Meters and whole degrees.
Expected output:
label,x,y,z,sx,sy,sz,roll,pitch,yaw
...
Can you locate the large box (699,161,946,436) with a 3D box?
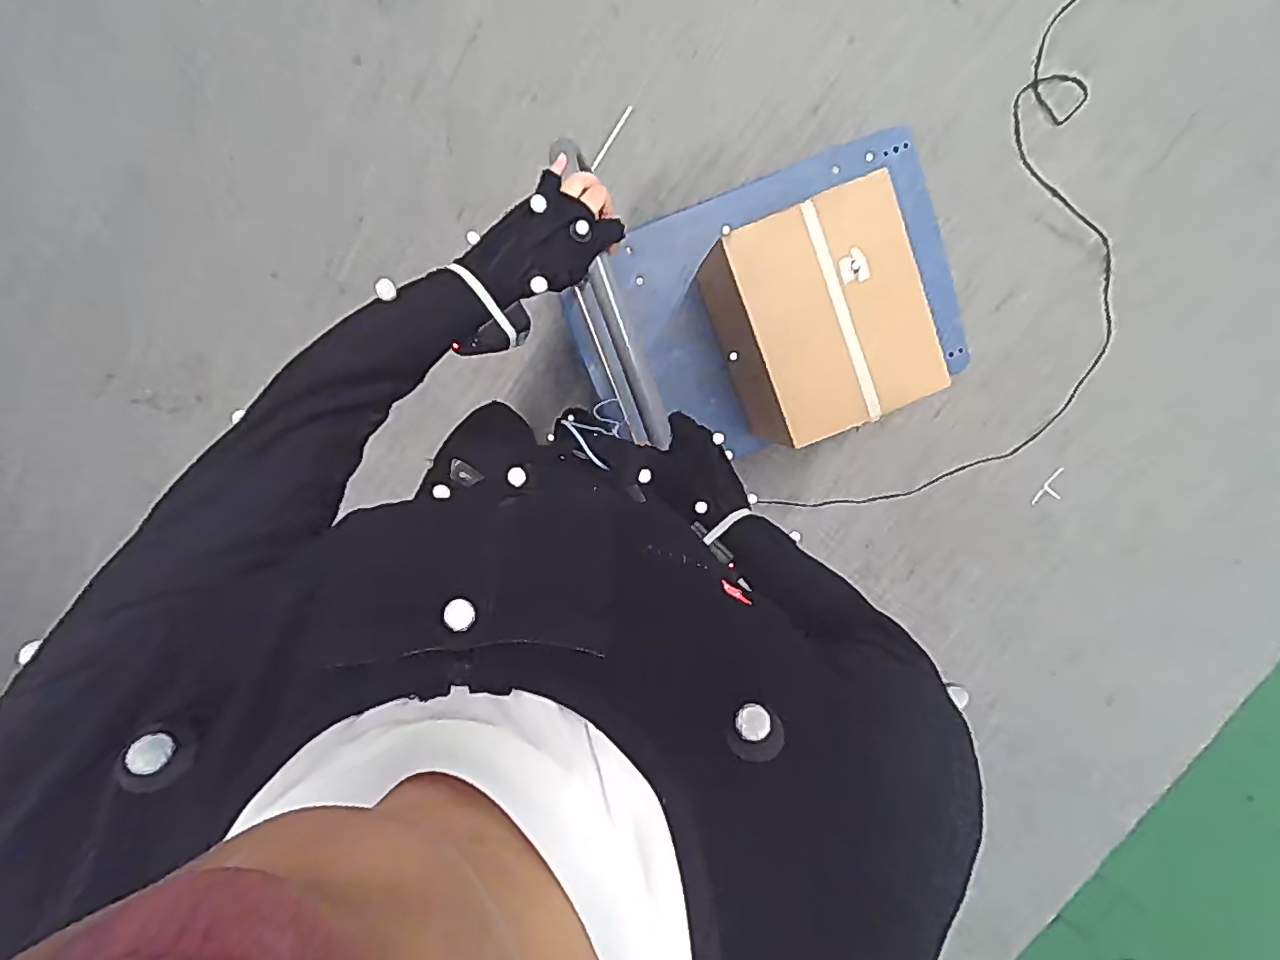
label,x,y,z,sx,sy,sz,roll,pitch,yaw
large box,0.348,-0.339,1.115,0.320,0.320,0.408,-22,99,1
